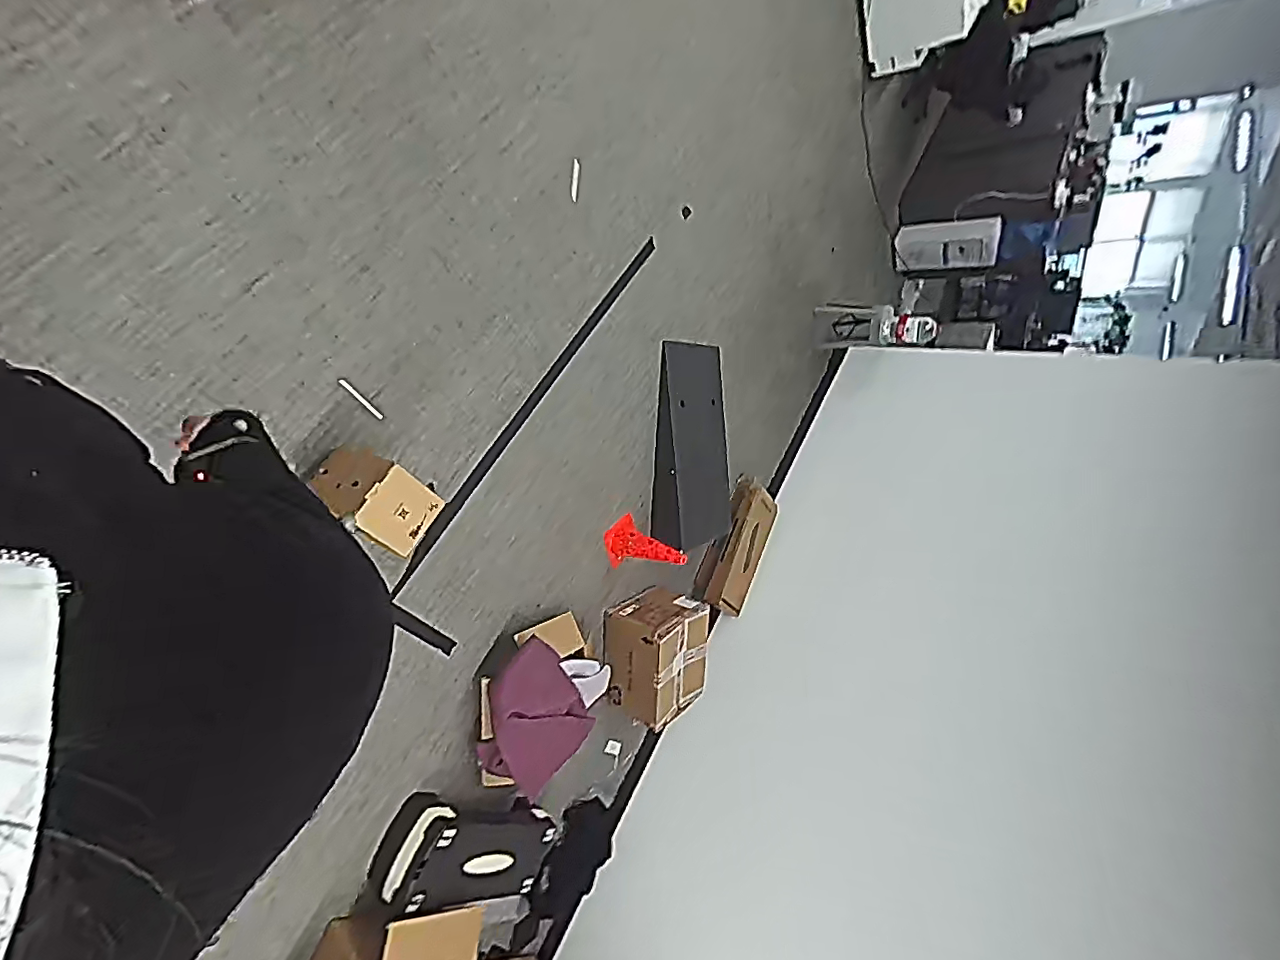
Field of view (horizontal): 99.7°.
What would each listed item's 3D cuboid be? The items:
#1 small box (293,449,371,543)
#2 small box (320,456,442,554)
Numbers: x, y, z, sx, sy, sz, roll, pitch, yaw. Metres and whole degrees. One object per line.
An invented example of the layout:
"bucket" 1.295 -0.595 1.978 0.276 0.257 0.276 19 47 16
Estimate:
"small box" -0.761 0.037 1.426 0.168 0.176 0.179 -58 139 -24
"small box" -0.635 0.056 1.322 0.168 0.176 0.179 -59 139 -22
